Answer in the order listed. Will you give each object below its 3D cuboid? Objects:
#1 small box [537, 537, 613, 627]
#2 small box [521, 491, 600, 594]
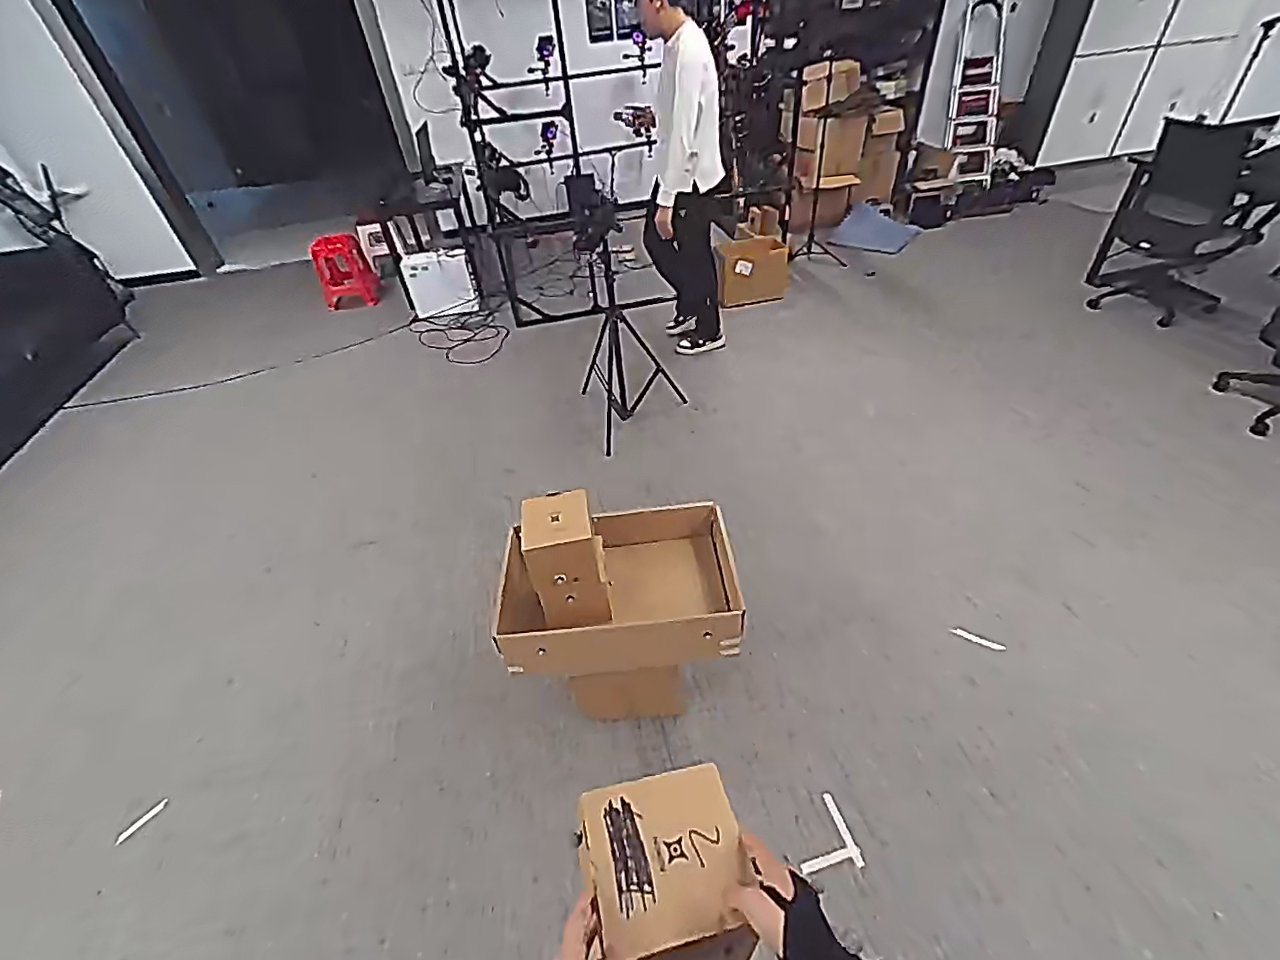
[{"bbox_3d":[-0.174,0.279,1.465,0.179,0.176,0.168,-8,41,-3],"label":"small box"},{"bbox_3d":[-0.198,0.156,1.359,0.168,0.176,0.179,-10,40,-4],"label":"small box"}]
